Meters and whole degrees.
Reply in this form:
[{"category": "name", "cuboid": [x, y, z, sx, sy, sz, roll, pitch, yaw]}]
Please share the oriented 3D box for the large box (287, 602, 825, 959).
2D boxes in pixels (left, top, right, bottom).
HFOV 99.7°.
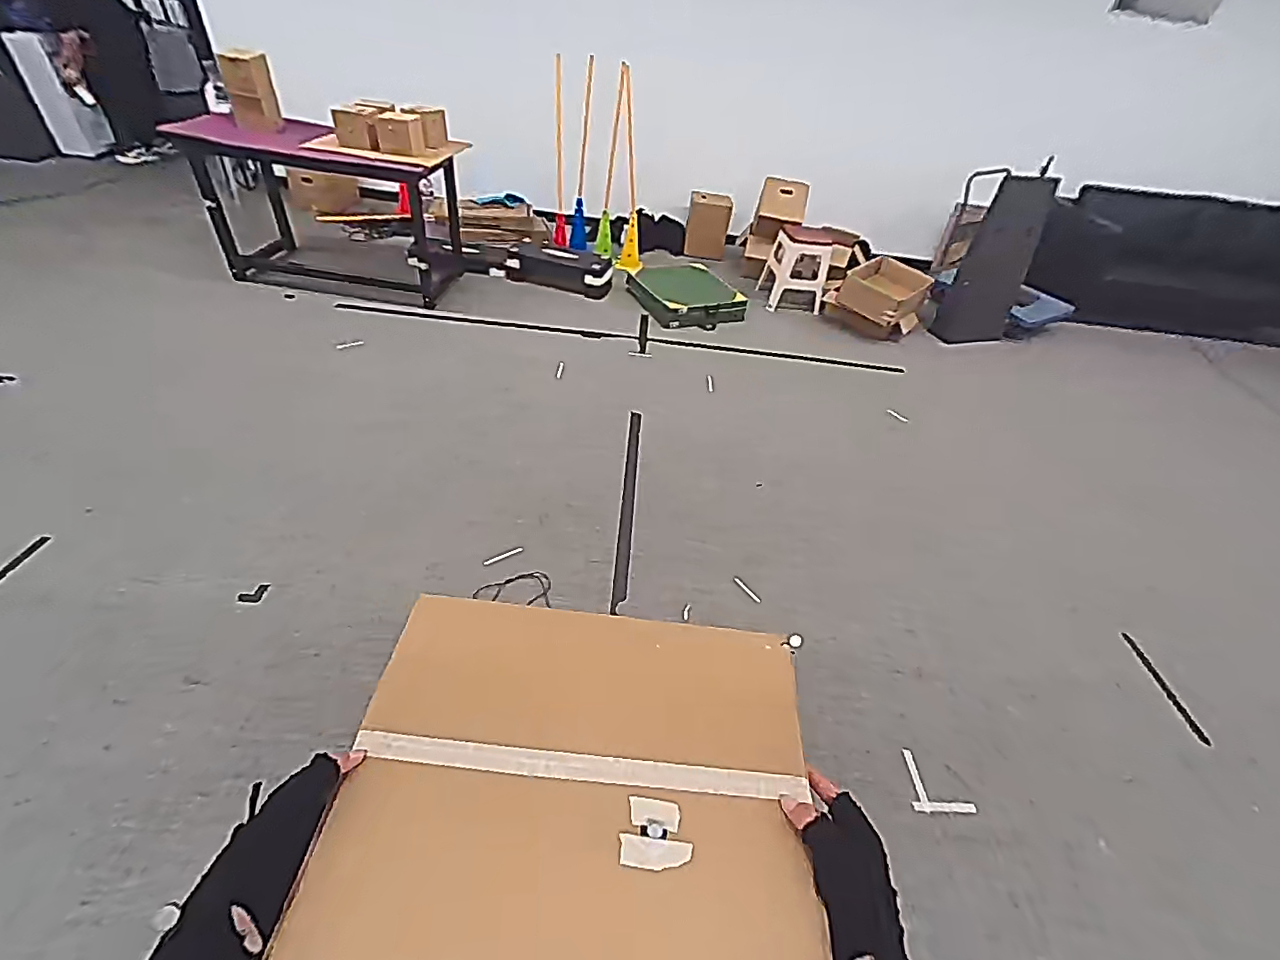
[{"category": "large box", "cuboid": [-0.062, 0.368, 0.596, 0.408, 0.320, 0.320, 7, 45, 0]}]
